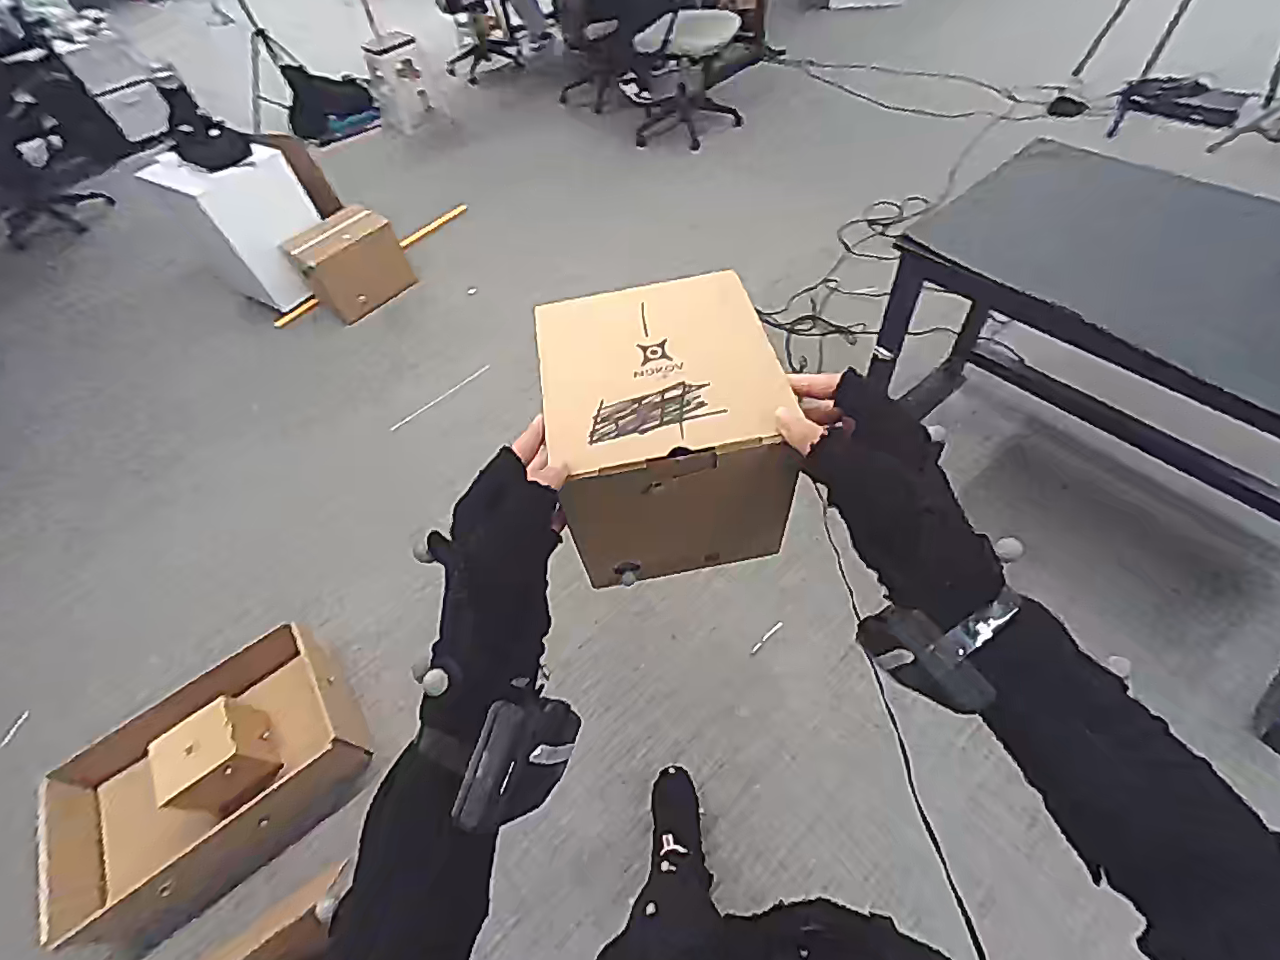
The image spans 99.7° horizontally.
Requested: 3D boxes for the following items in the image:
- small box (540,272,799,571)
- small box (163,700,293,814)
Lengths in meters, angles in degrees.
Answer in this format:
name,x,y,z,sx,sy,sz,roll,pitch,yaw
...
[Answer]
name,x,y,z,sx,sy,sz,roll,pitch,yaw
small box,0.020,-0.038,0.451,0.168,0.176,0.179,-11,54,0
small box,-0.995,0.677,1.314,0.179,0.176,0.168,-36,56,-16
